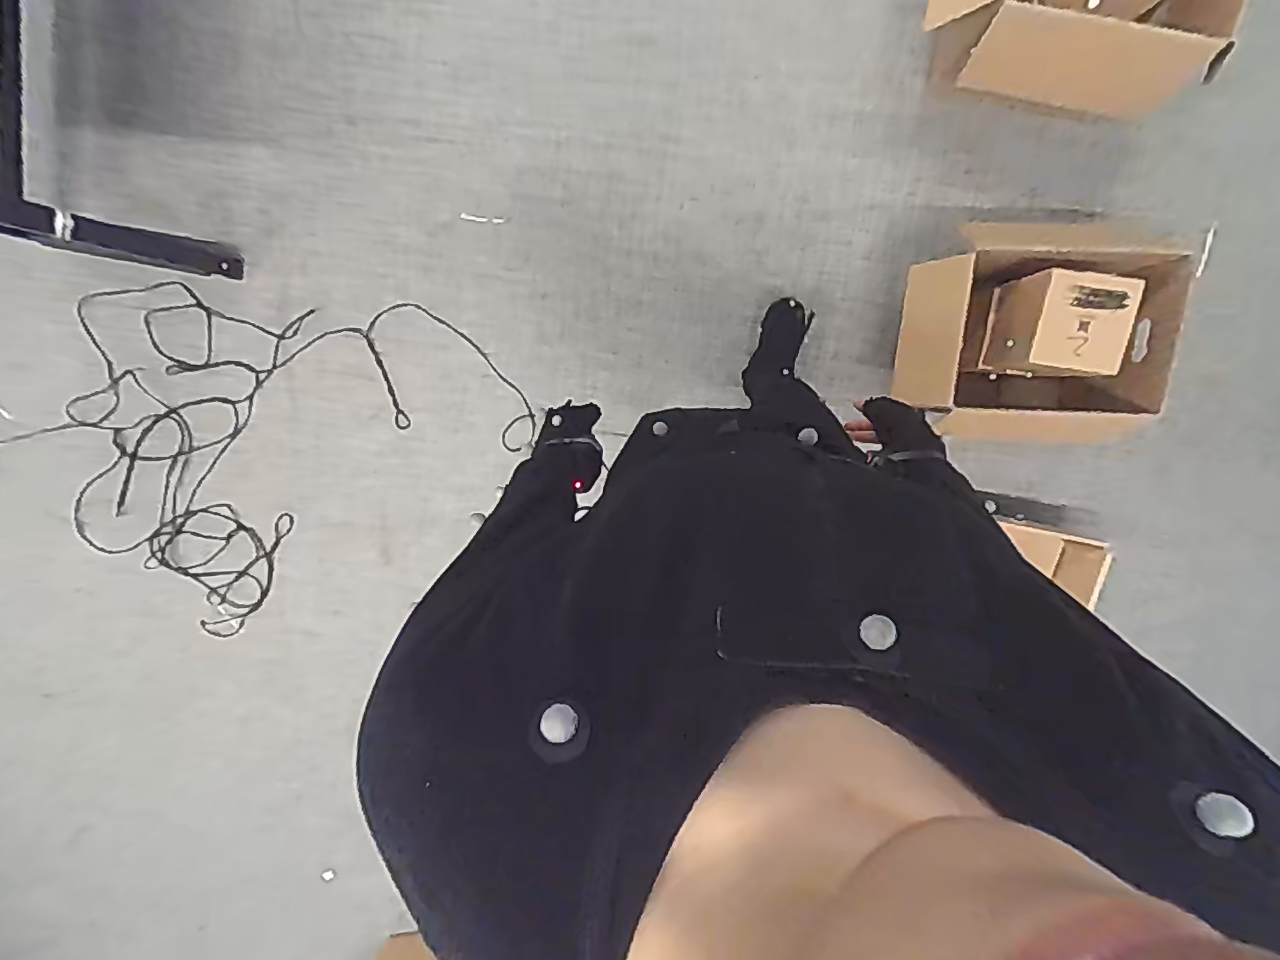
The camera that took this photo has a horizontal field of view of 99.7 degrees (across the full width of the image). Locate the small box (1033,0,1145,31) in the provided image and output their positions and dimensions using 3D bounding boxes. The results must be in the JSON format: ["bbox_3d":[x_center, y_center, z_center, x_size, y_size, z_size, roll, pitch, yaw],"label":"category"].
[{"bbox_3d":[0.866,-0.971,0.983,0.168,0.176,0.179,12,101,1],"label":"small box"}]
